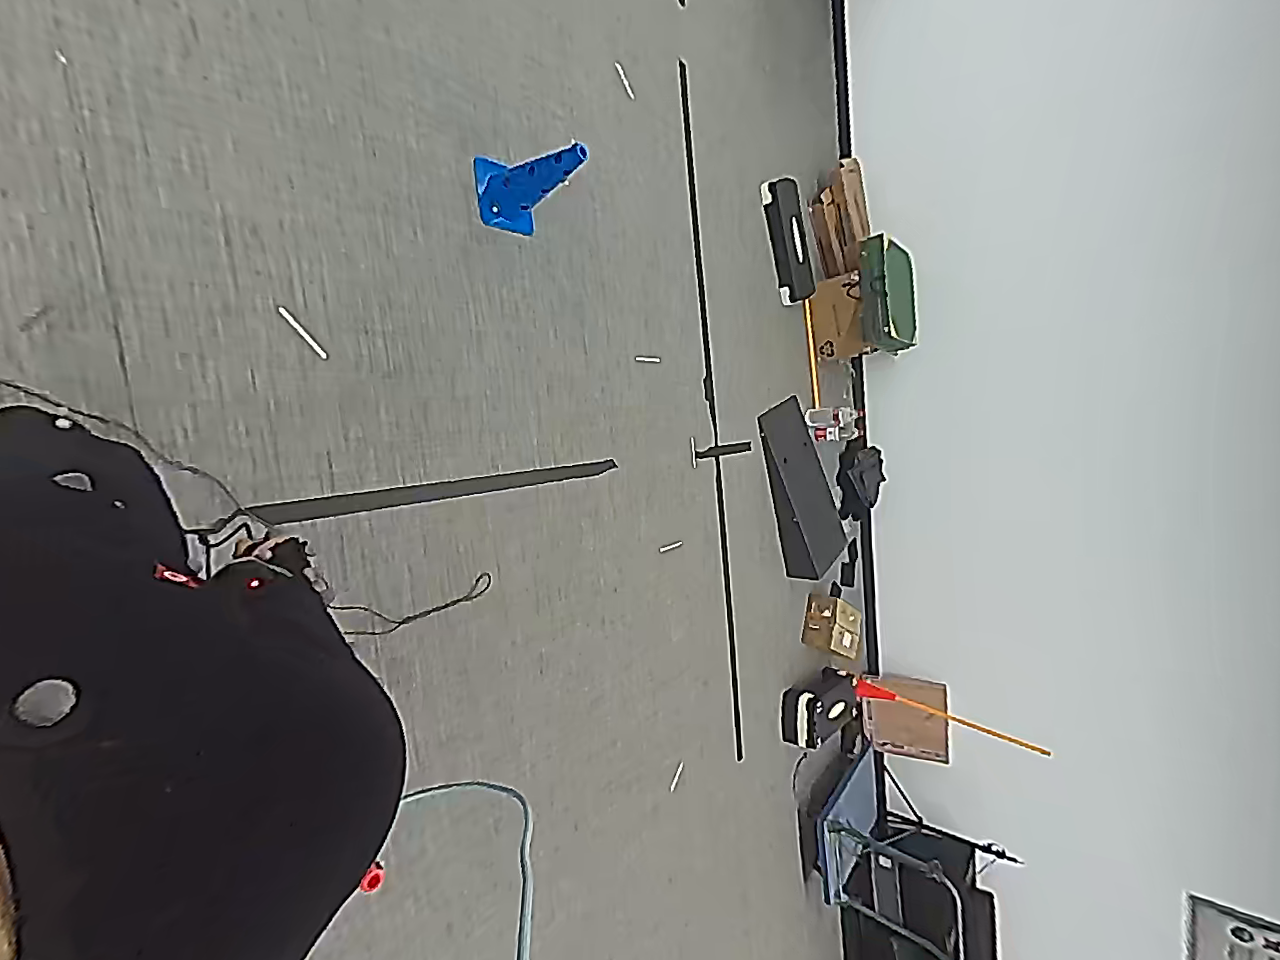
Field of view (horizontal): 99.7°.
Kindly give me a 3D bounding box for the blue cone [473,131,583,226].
[{"bbox_3d":[-0.302,-0.899,1.565,0.193,0.380,0.192,-10,96,-49],"label":"blue cone"}]
